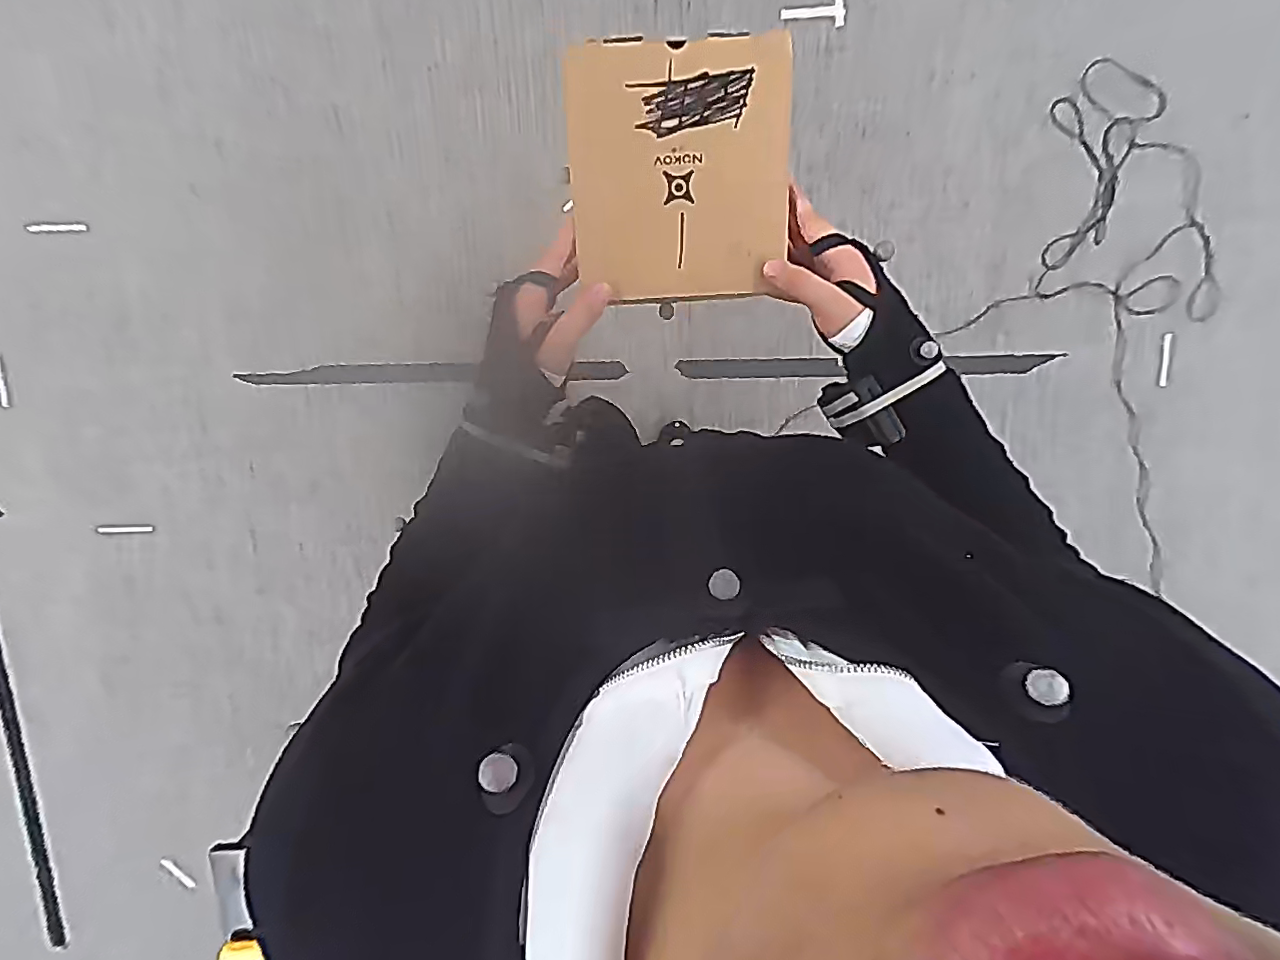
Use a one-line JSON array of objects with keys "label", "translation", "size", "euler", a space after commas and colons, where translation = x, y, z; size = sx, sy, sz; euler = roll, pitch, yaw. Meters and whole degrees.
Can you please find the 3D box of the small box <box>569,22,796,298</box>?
[{"label": "small box", "translation": [0.031, -0.260, 0.481], "size": [0.168, 0.176, 0.179], "euler": [-3, 107, 0]}]
